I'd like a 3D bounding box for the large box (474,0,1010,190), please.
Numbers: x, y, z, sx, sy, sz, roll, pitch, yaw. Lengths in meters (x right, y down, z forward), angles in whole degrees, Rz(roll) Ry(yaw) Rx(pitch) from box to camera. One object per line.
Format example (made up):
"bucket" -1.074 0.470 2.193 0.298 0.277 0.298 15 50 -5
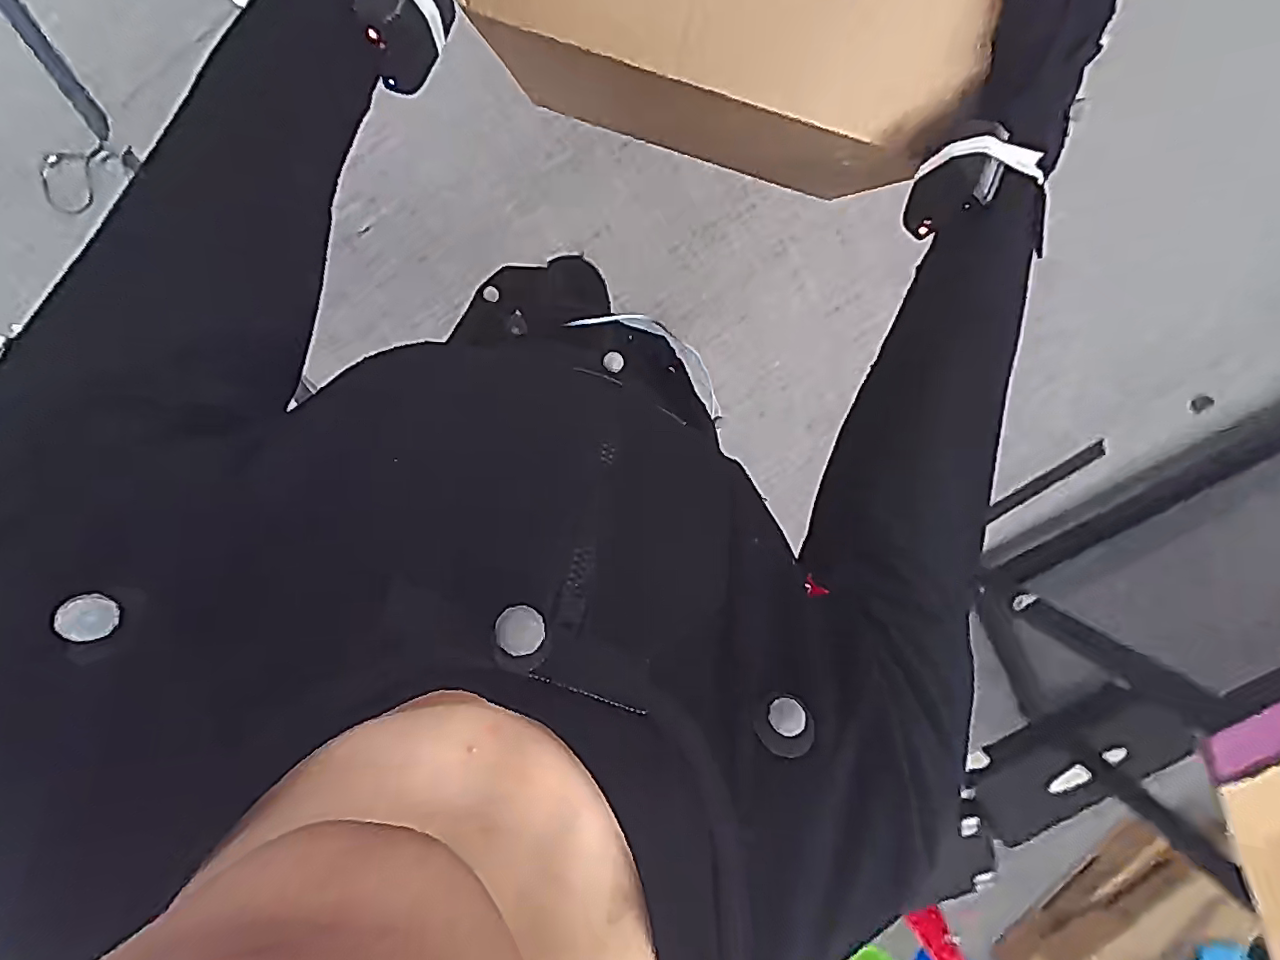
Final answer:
"large box" 0.098 -0.504 0.509 0.408 0.320 0.320 14 114 -6
